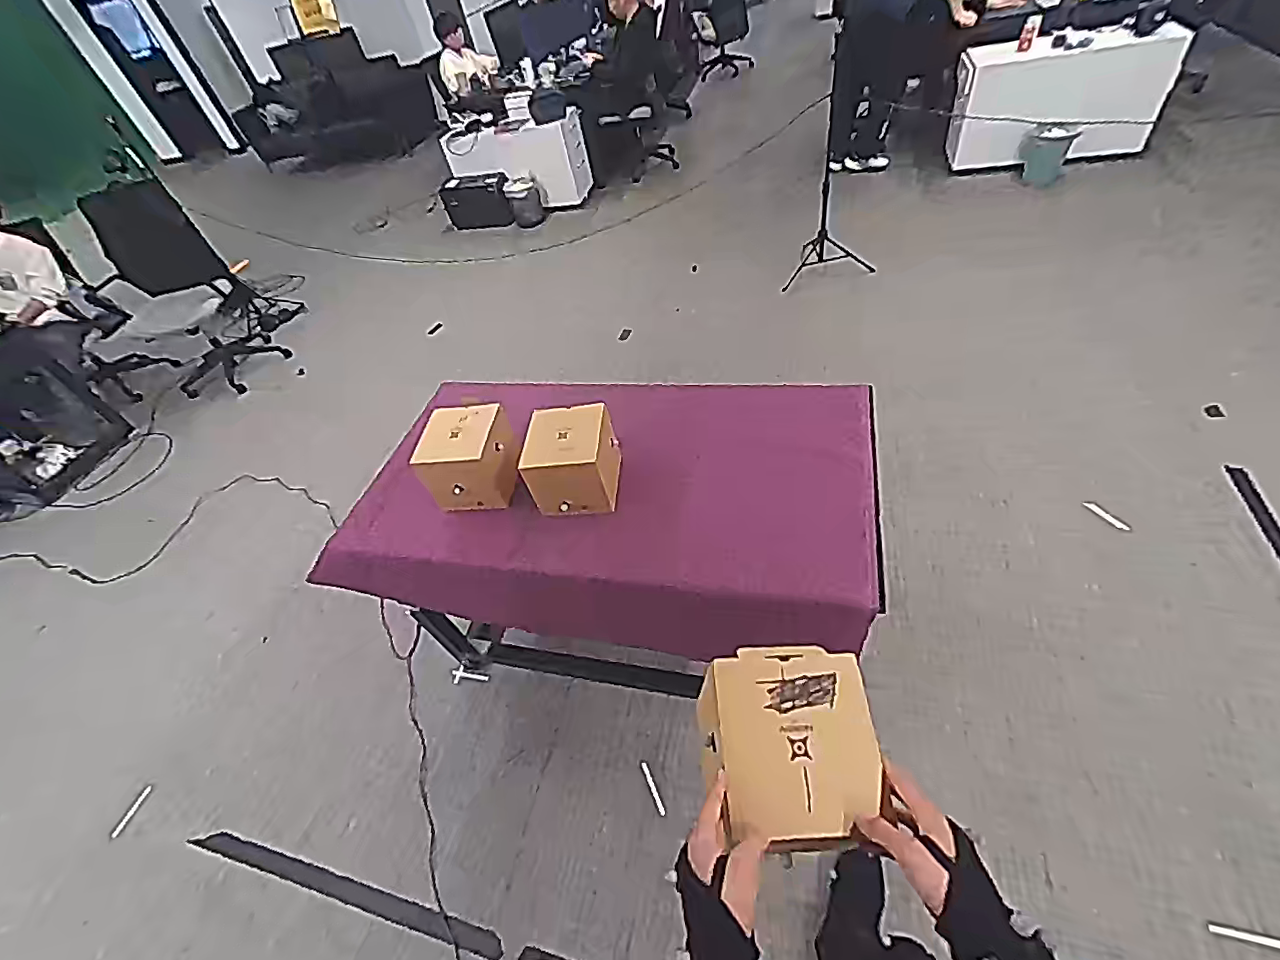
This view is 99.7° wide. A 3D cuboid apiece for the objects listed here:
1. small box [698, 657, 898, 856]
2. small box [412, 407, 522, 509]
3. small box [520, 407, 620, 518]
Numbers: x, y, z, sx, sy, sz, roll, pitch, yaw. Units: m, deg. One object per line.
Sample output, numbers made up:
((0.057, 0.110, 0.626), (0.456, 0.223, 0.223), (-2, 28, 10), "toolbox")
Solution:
((0.165, 0.326, 0.636), (0.168, 0.176, 0.179), (-2, 51, -2), "small box")
((-0.387, -0.044, 1.251), (0.168, 0.176, 0.179), (-3, 48, 10), "small box")
((-0.143, -0.036, 1.186), (0.168, 0.176, 0.179), (-4, 48, 11), "small box")
